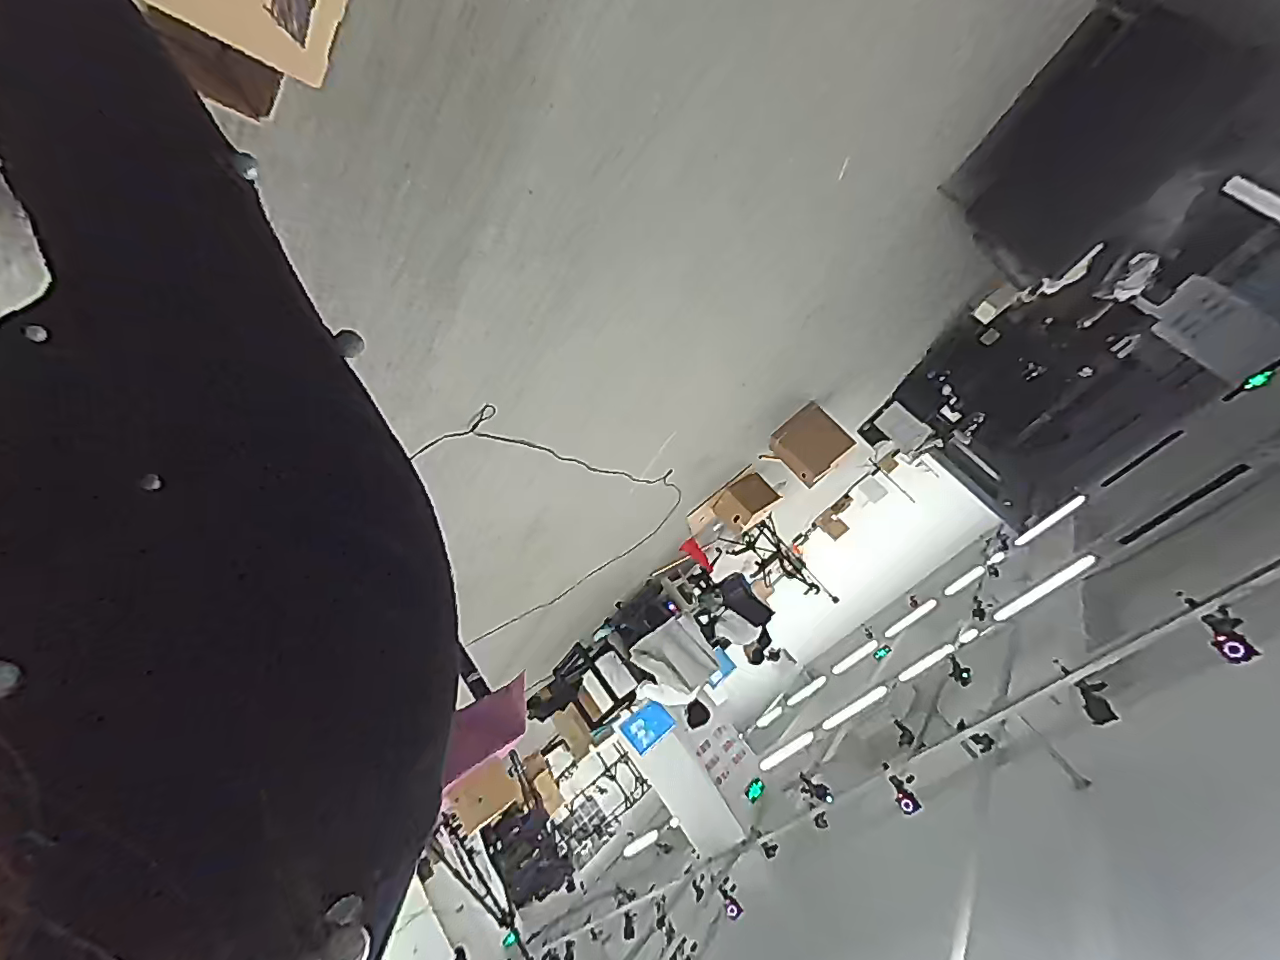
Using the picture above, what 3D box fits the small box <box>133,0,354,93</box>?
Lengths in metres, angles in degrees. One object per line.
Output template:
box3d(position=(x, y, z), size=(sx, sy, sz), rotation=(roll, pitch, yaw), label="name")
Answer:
box3d(position=(-0.348, -0.471, 0.429), size=(0.168, 0.176, 0.179), rotation=(-50, 158, 26), label="small box")
